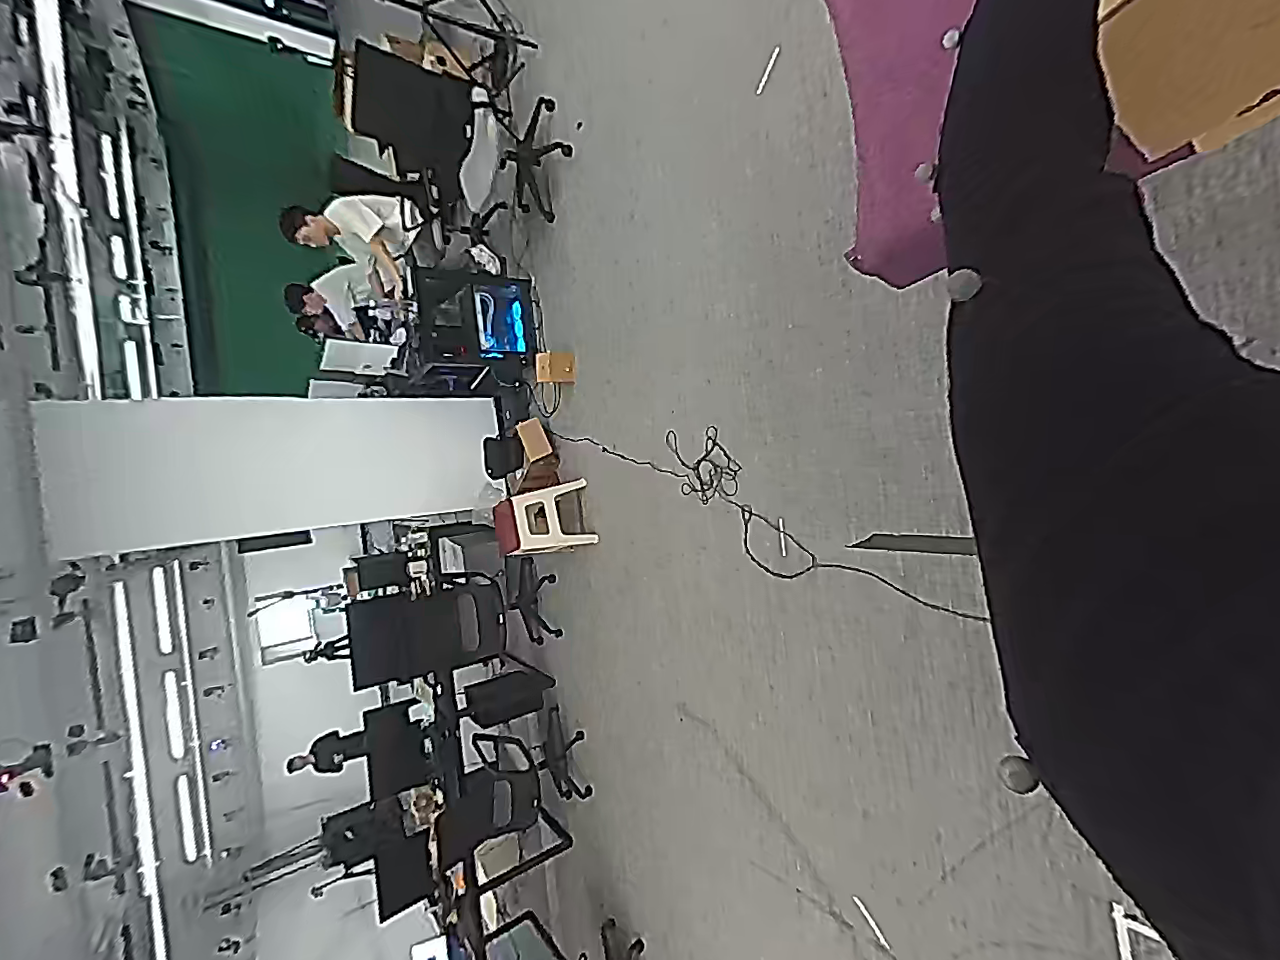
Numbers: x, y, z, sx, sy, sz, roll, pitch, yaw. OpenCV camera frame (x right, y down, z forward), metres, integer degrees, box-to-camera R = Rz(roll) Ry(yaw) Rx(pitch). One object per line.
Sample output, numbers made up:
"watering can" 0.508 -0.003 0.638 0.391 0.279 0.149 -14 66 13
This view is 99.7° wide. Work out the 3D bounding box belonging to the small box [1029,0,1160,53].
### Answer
"small box" 0.409 -0.493 0.429 0.179 0.176 0.168 59 148 -4
